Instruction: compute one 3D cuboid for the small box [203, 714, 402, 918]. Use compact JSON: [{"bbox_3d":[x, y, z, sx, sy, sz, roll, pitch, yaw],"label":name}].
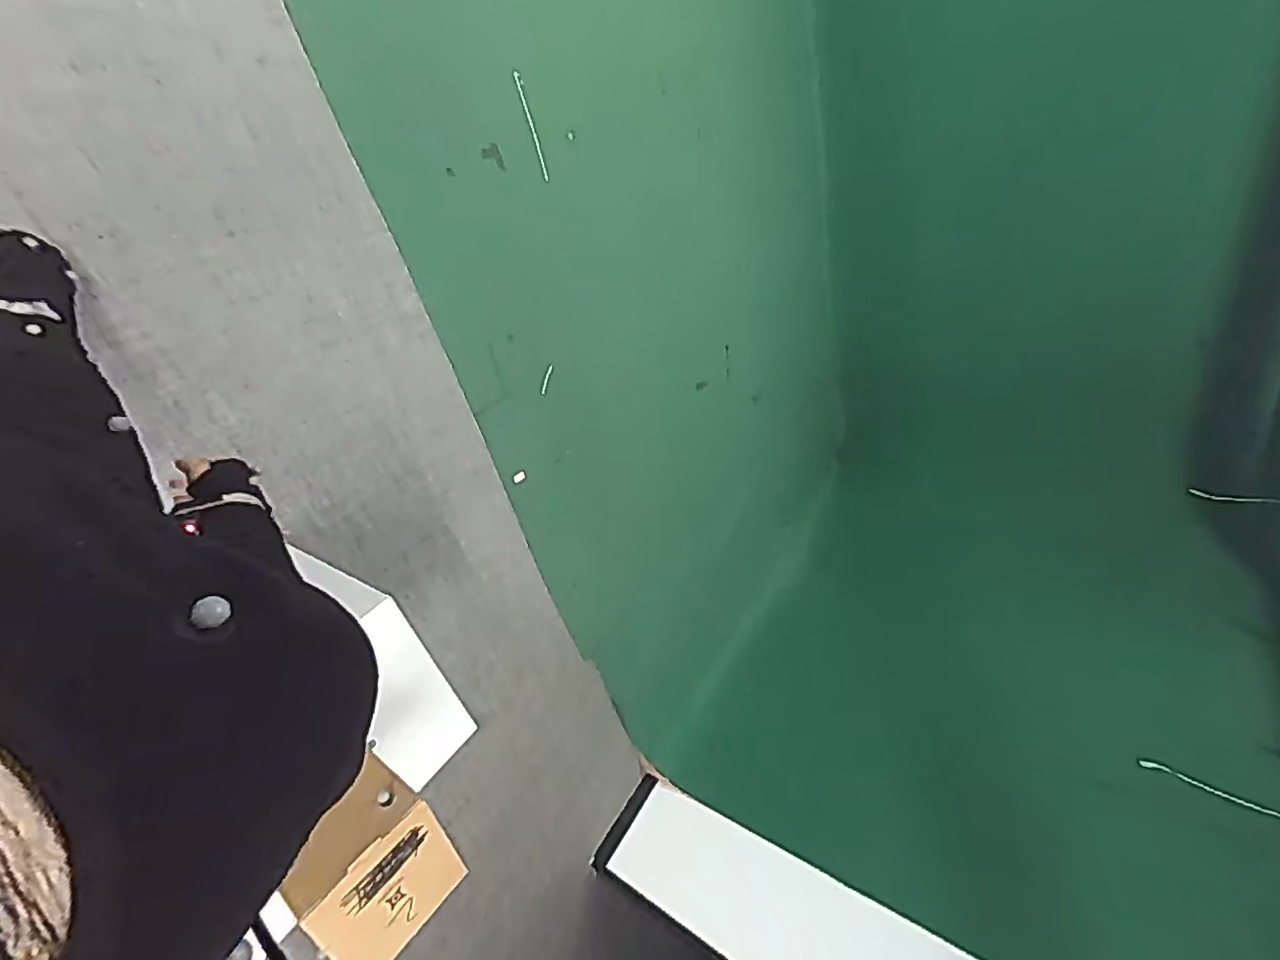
[{"bbox_3d":[-0.506,0.493,0.818,0.168,0.176,0.179,-41,128,-41],"label":"small box"}]
